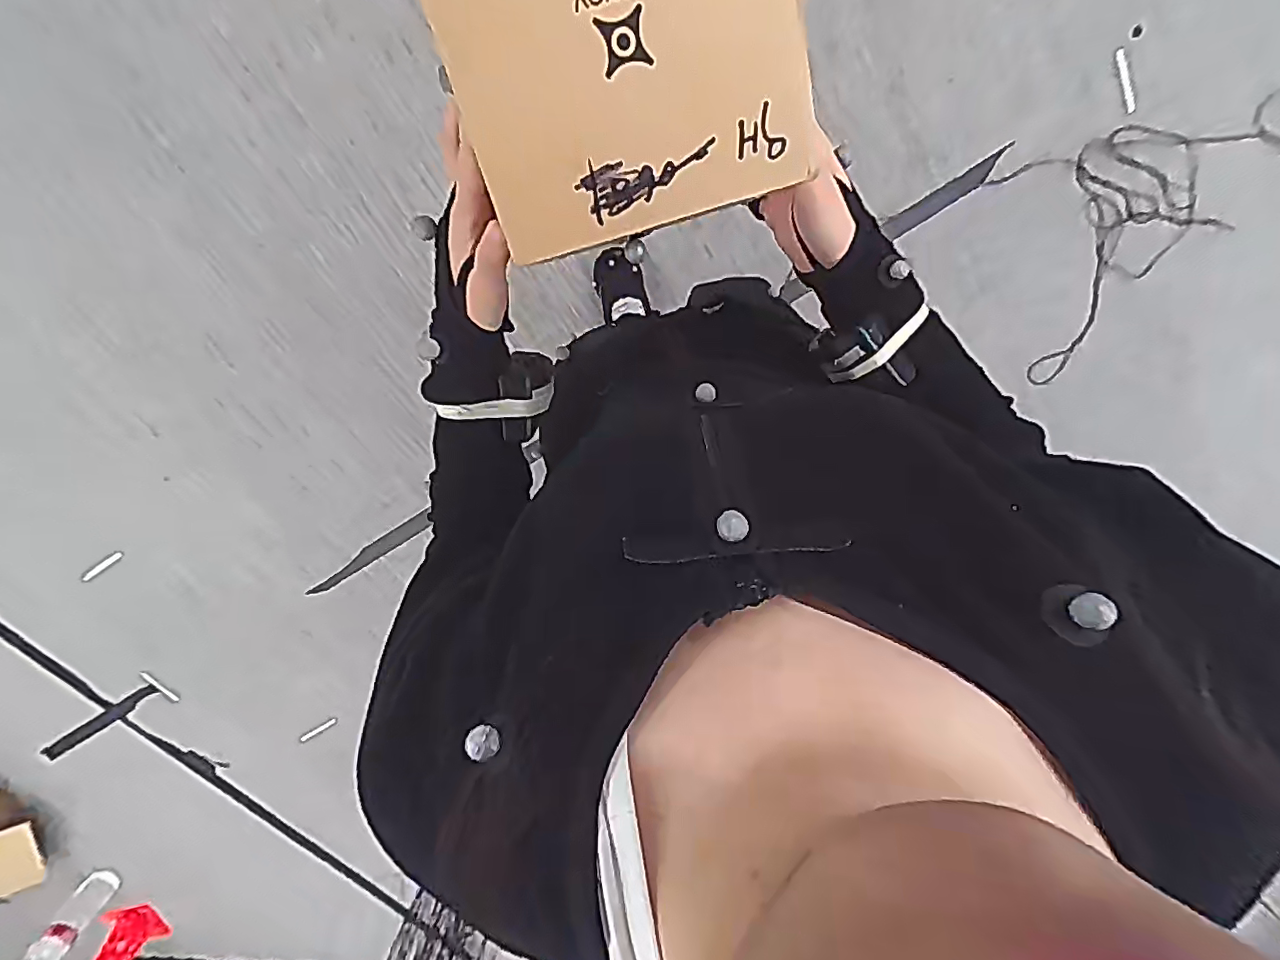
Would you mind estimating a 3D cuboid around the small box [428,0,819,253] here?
[{"bbox_3d":[-0.017,-0.244,0.314,0.168,0.176,0.179,-16,113,2],"label":"small box"}]
